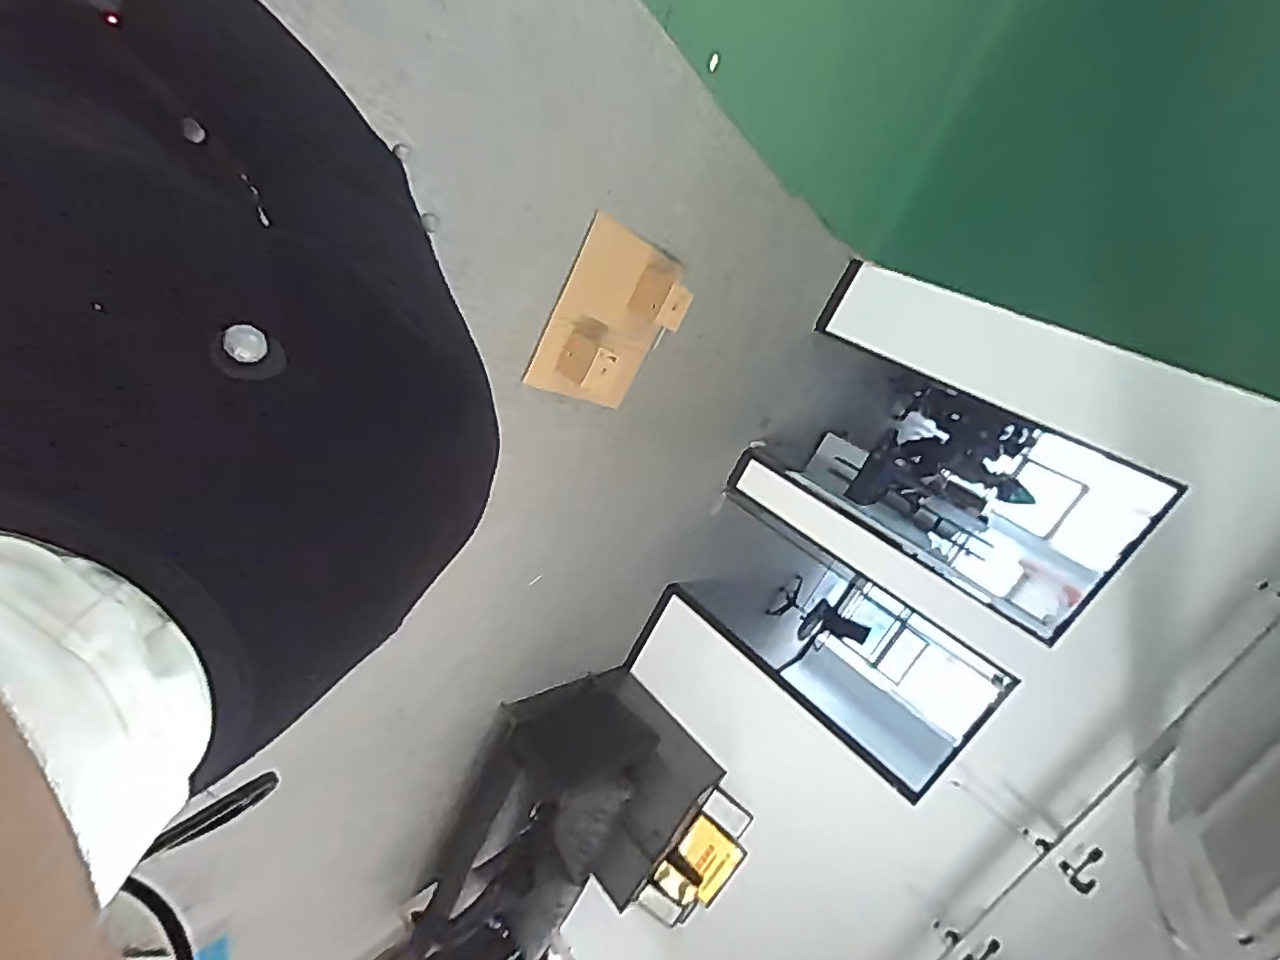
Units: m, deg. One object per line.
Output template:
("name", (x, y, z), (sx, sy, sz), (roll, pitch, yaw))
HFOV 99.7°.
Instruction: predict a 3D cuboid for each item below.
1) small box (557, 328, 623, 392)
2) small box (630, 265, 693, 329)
("small box", (-0.208, -0.482, 2.175), (0.168, 0.176, 0.179), (10, 114, -56))
("small box", (0.083, -0.765, 2.259), (0.168, 0.176, 0.179), (7, 116, -55))
